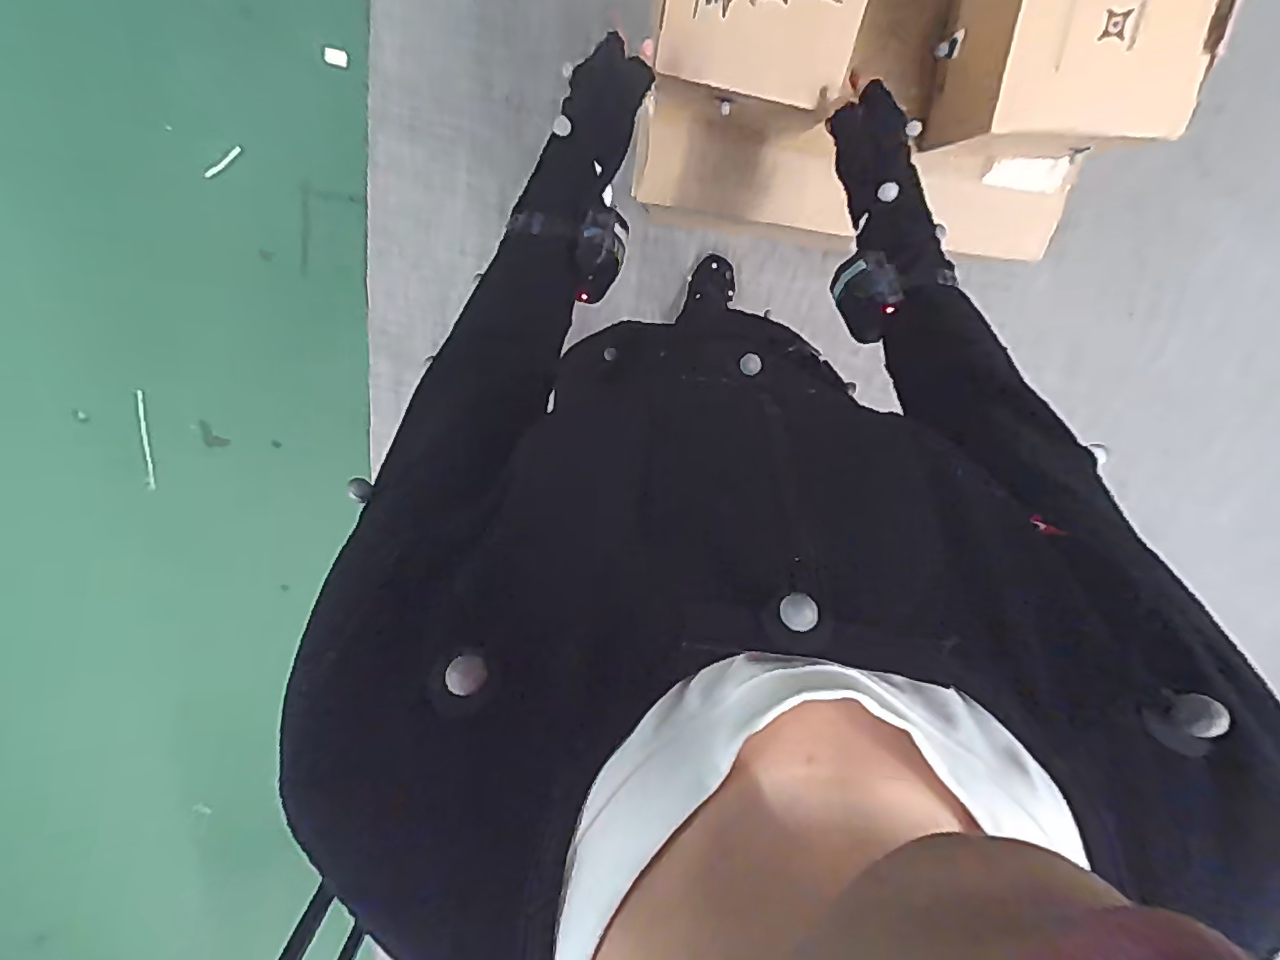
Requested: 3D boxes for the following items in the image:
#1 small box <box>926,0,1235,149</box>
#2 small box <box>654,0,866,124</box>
[{"bbox_3d":[0.416,-0.431,0.530,0.179,0.176,0.168,3,115,5],"label":"small box"},{"bbox_3d":[0.120,-0.472,0.535,0.179,0.176,0.168,12,117,-1],"label":"small box"}]
